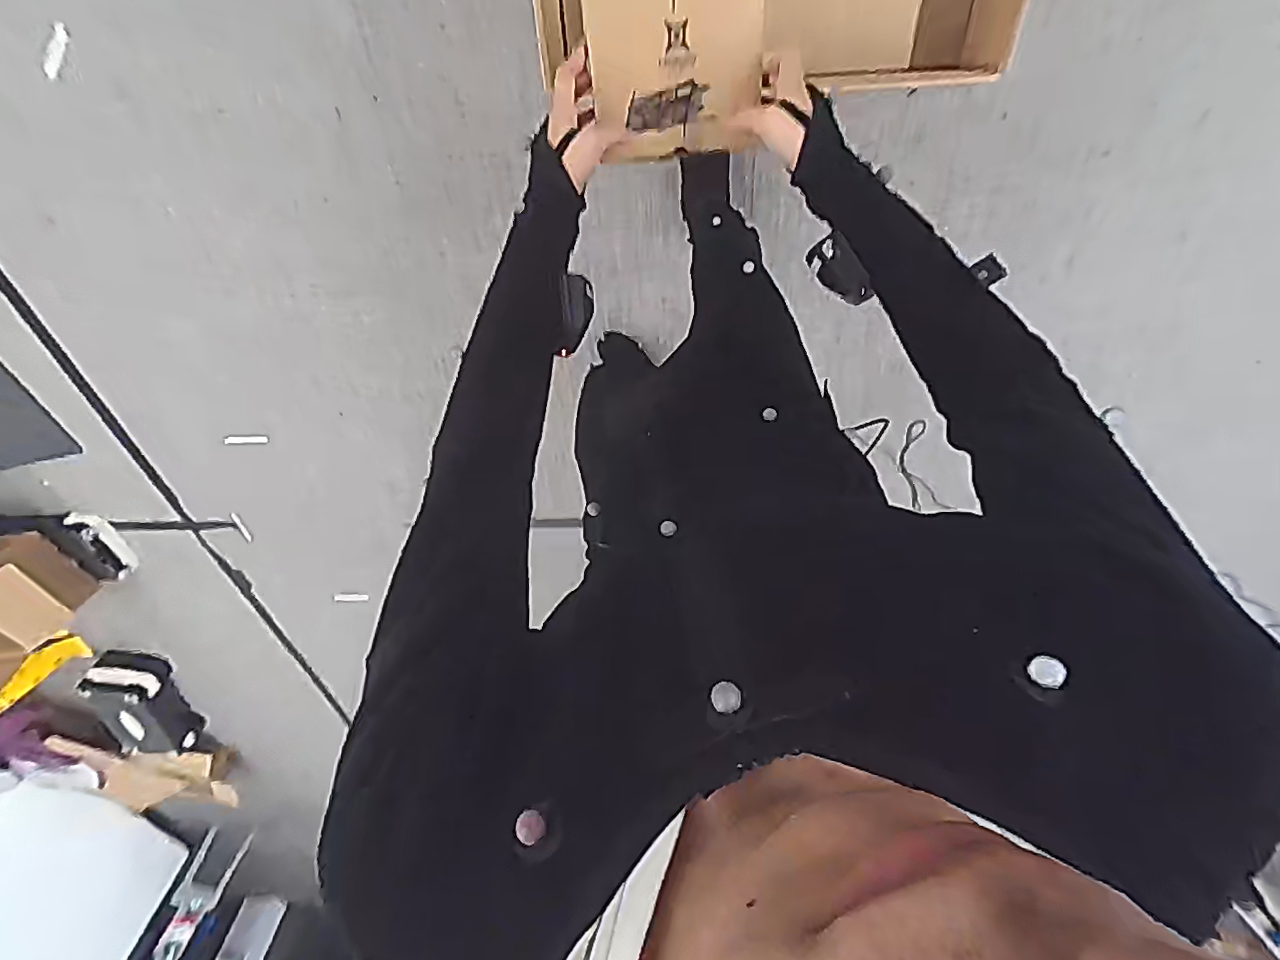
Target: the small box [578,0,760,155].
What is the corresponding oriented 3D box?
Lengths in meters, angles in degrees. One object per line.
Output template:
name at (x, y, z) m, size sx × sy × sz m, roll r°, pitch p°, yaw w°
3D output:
small box at (0.023, -0.454, 0.563) m, size 0.168 × 0.176 × 0.179 m, roll -7°, pitch 125°, yaw -1°
